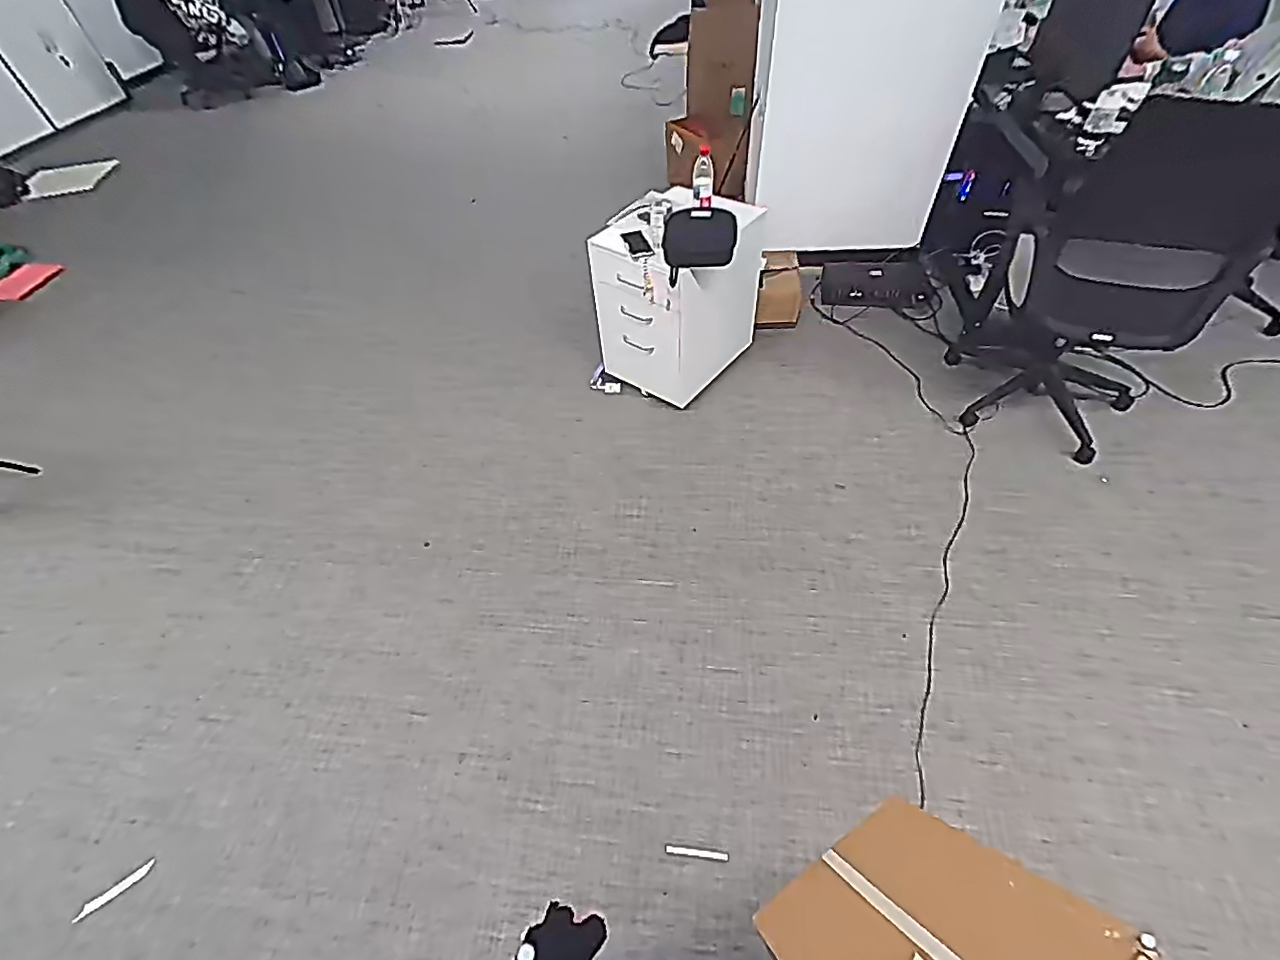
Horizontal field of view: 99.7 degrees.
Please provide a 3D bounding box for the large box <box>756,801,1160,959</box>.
[{"bbox_3d":[0.418,0.702,0.678,0.320,0.408,0.320,-29,86,-15],"label":"large box"}]
